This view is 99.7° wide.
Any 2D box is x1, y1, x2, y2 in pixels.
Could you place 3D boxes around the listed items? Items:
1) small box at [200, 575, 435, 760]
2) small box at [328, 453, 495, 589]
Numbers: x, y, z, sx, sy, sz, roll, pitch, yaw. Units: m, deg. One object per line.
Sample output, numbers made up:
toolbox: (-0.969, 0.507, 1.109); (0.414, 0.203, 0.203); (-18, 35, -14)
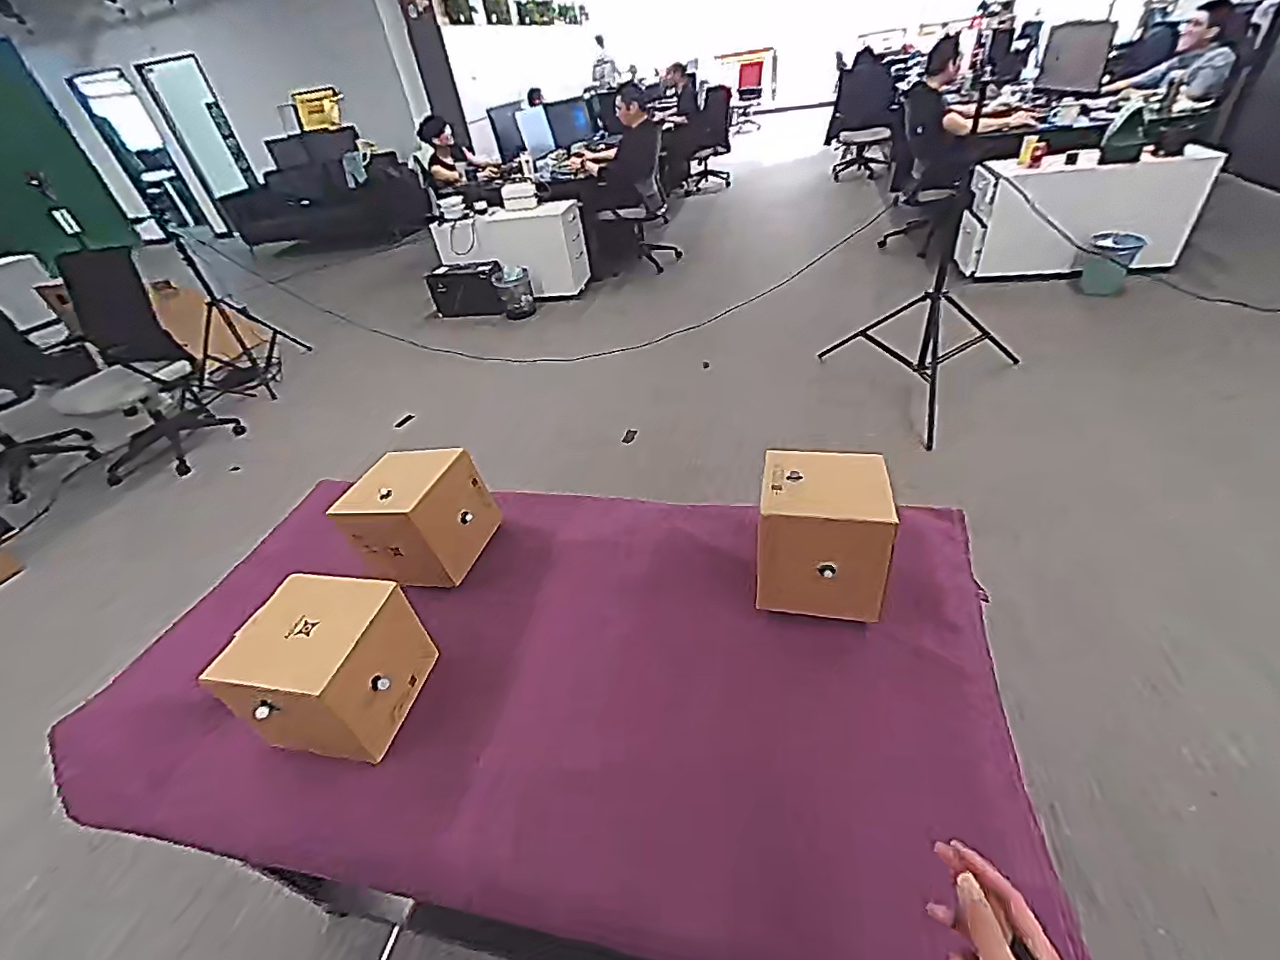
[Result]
small box: (-0.407, 0.249, 0.721); (0.179, 0.176, 0.168); (1, 39, 14)
small box: (-0.372, 0.065, 0.923); (0.179, 0.168, 0.176); (-2, 37, 22)
